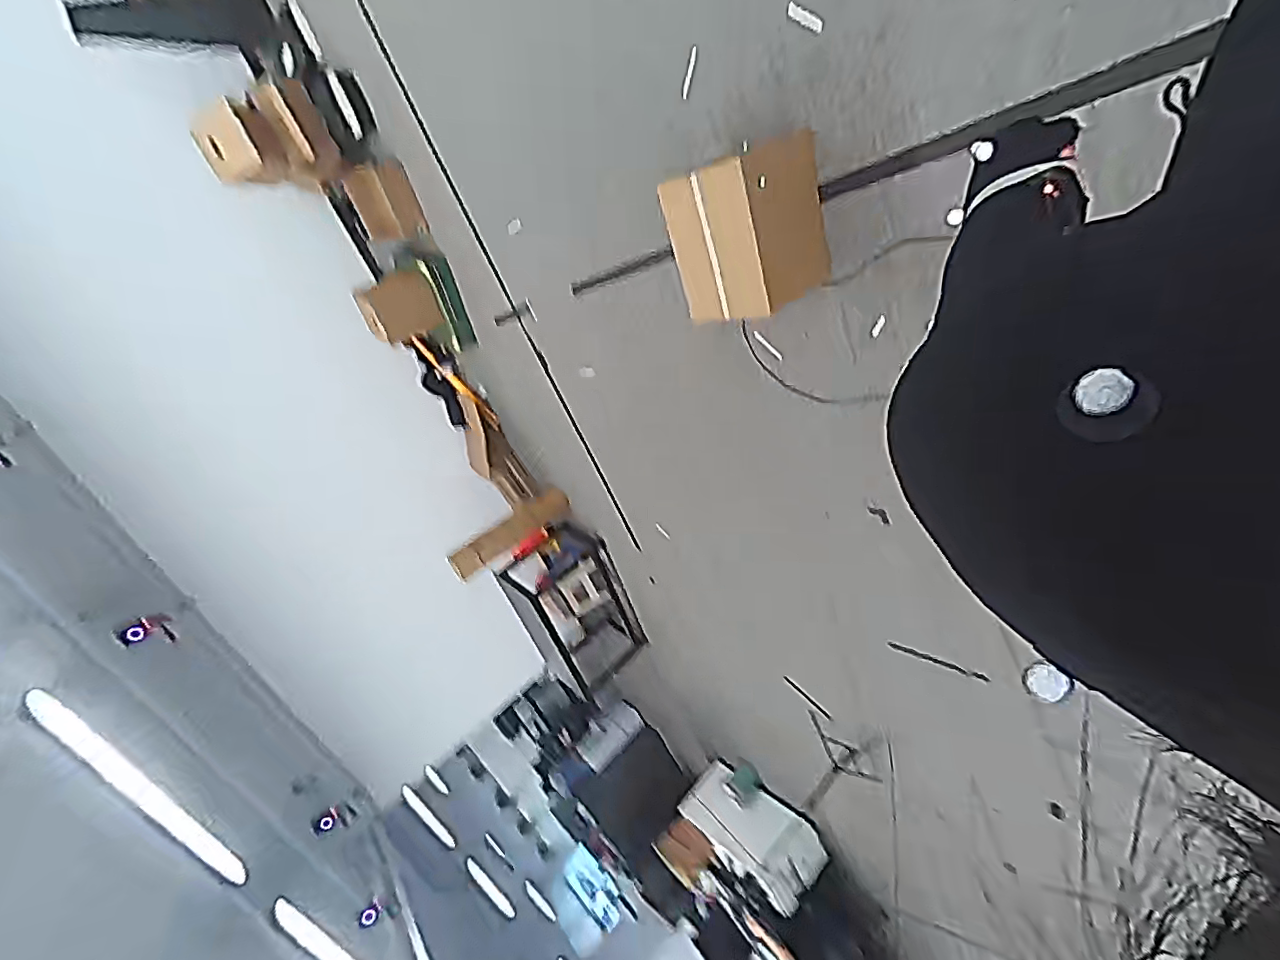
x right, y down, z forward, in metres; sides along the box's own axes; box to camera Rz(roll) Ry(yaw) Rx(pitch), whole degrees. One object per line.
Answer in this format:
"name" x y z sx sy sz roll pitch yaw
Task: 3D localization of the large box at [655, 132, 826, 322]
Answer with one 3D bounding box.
"large box" 0.306 -0.720 1.582 0.320 0.320 0.408 16 135 48
